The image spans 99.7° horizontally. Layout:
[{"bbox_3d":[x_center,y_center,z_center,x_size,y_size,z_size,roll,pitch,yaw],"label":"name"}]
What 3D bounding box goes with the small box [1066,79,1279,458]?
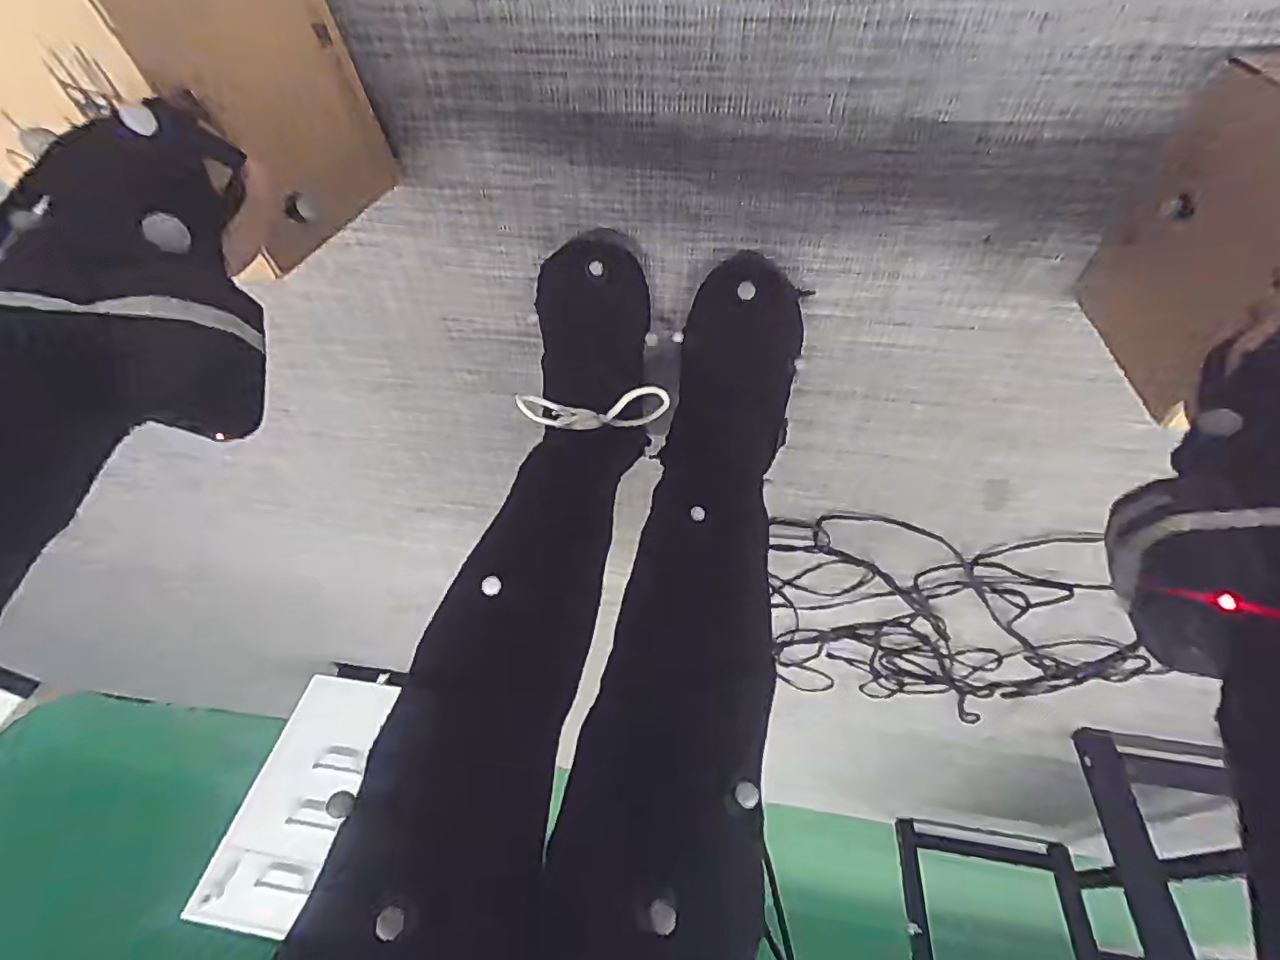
[{"bbox_3d":[0.424,-0.129,0.337,0.179,0.176,0.168,6,141,8],"label":"small box"}]
